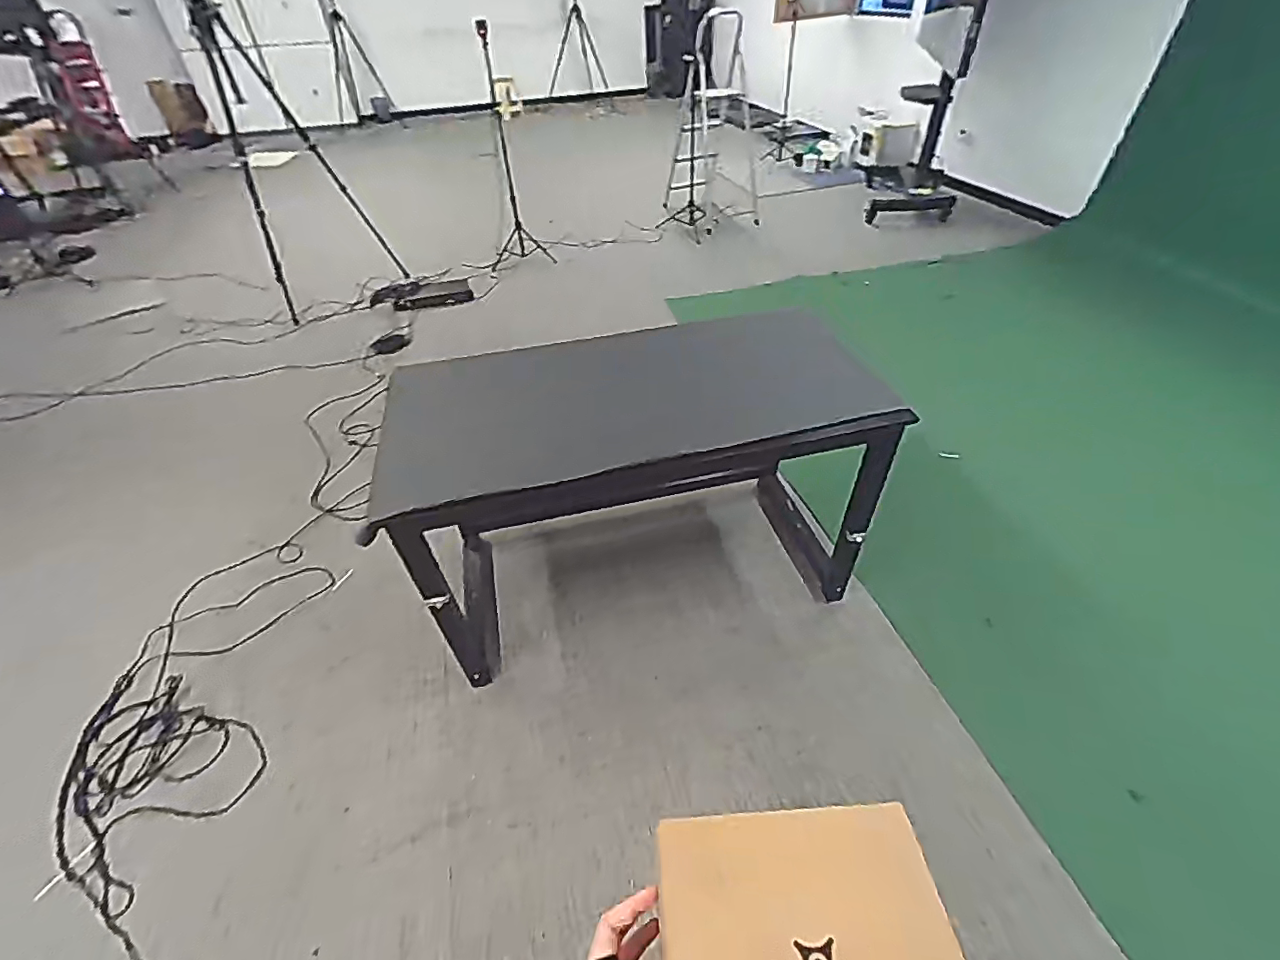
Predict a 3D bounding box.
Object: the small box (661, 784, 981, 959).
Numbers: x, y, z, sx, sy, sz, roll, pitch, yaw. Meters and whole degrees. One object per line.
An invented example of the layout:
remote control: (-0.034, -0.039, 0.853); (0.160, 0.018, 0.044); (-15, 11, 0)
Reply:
small box: (0.100, 0.319, 0.337); (0.168, 0.176, 0.179); (-3, 39, -1)
